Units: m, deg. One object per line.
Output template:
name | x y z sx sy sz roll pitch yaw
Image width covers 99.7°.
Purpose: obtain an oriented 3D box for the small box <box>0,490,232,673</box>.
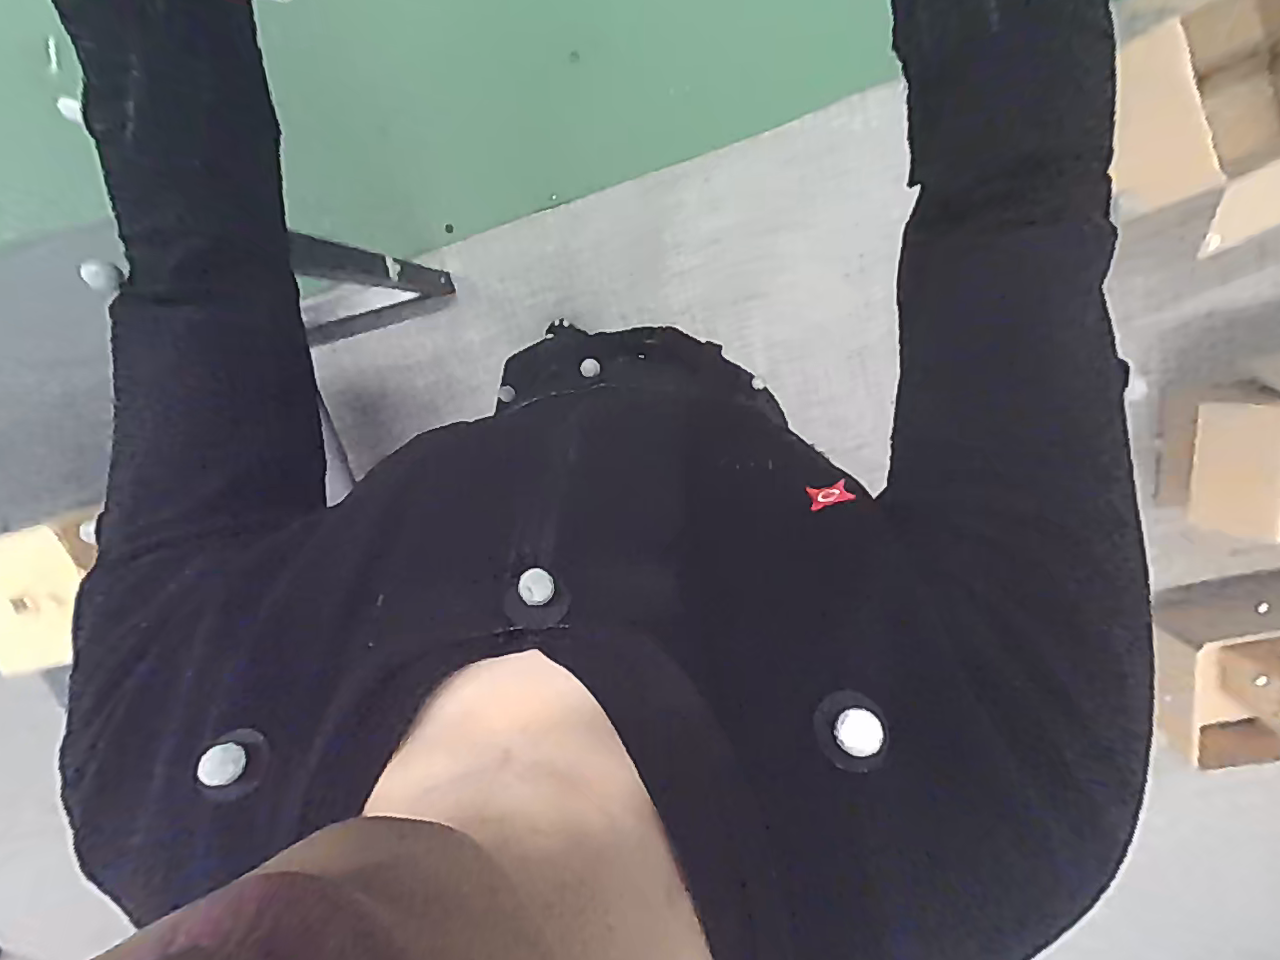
small box | -0.711 0.126 0.723 0.179 0.176 0.168 -14 104 7
